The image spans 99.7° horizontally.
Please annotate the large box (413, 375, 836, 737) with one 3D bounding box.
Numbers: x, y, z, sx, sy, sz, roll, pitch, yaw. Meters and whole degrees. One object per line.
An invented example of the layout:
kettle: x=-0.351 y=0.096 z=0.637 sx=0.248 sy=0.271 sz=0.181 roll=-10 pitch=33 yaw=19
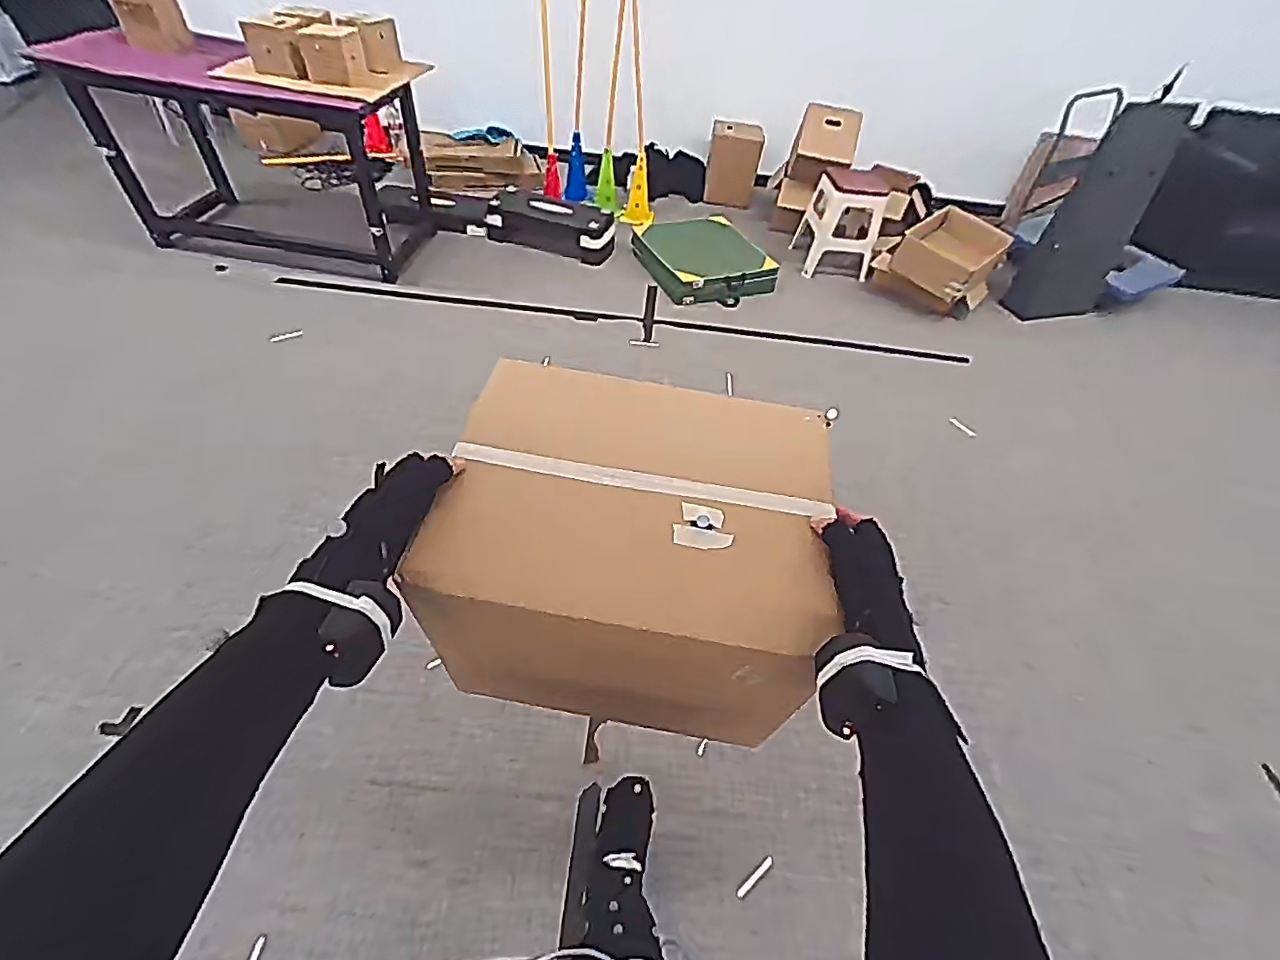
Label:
large box: x=-0.010 y=0.106 z=0.701 sx=0.408 sy=0.320 sz=0.320 roll=10 pitch=53 yaw=2
